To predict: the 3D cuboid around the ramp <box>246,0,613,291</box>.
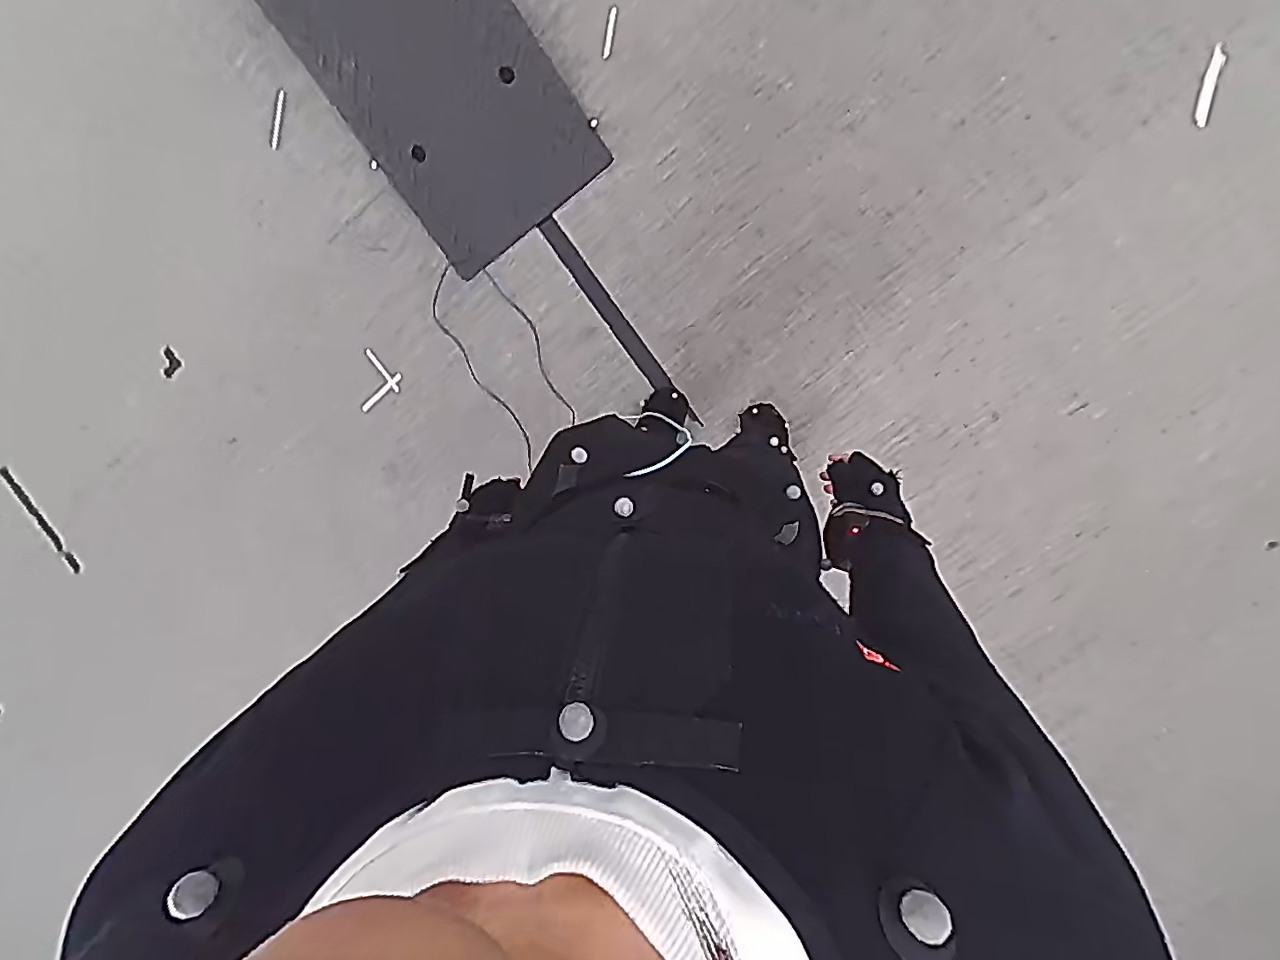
[{"bbox_3d":[-0.546,-1.025,1.309,0.509,0.206,0.991,-37,92,10],"label":"ramp"}]
